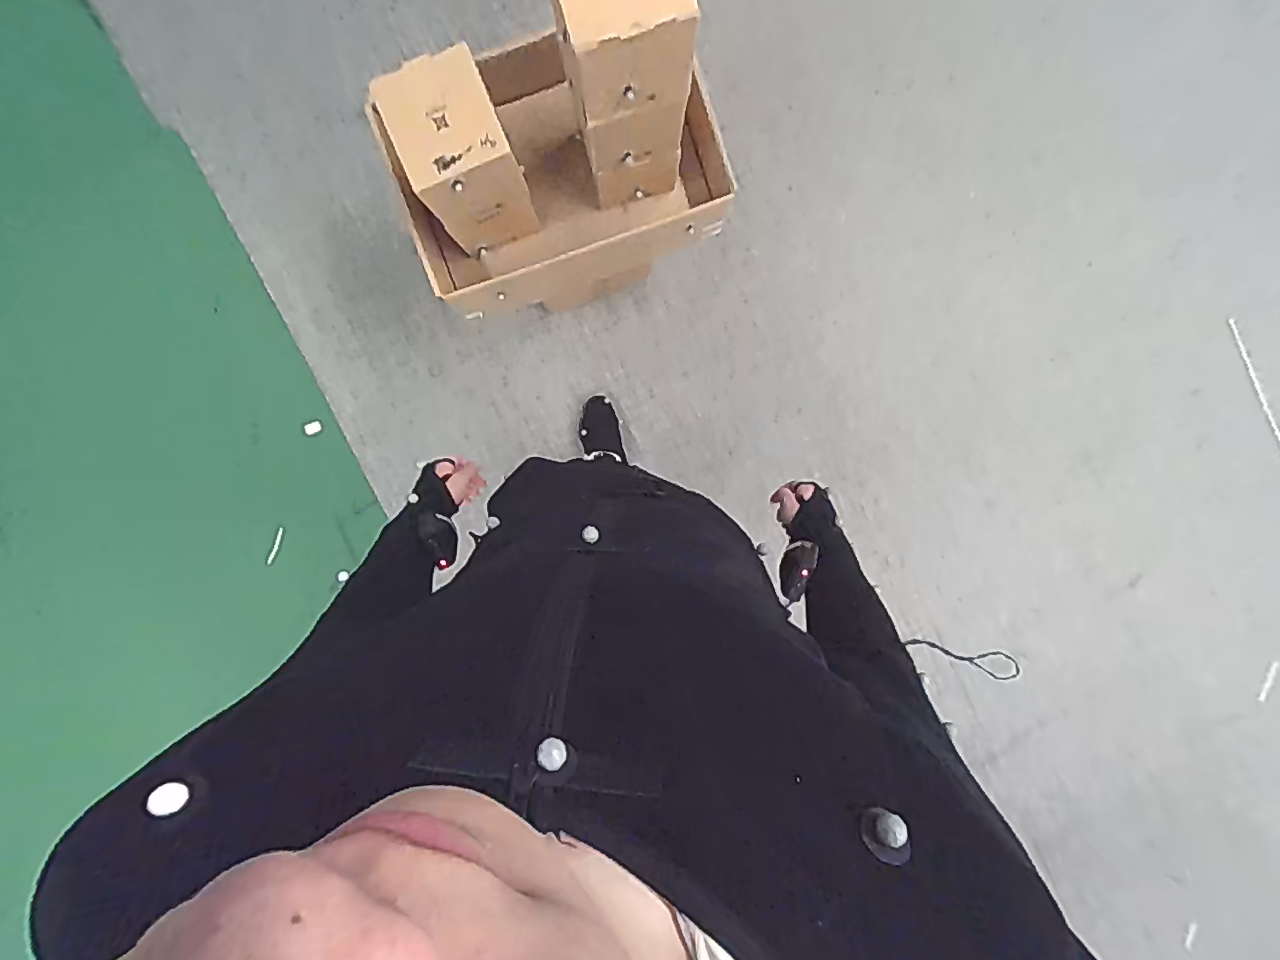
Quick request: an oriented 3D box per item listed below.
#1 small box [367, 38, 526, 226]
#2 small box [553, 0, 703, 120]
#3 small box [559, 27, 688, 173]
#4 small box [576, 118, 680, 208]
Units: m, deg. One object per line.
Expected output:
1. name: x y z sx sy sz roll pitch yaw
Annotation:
1. small box: -0.306 -0.558 0.892 0.168 0.176 0.179 -22 95 1
2. small box: -0.025 -0.638 0.731 0.168 0.176 0.179 -16 96 1
3. small box: -0.030 -0.651 0.892 0.168 0.176 0.179 -16 96 0
4. small box: -0.030 -0.668 1.054 0.168 0.176 0.179 -15 96 0
